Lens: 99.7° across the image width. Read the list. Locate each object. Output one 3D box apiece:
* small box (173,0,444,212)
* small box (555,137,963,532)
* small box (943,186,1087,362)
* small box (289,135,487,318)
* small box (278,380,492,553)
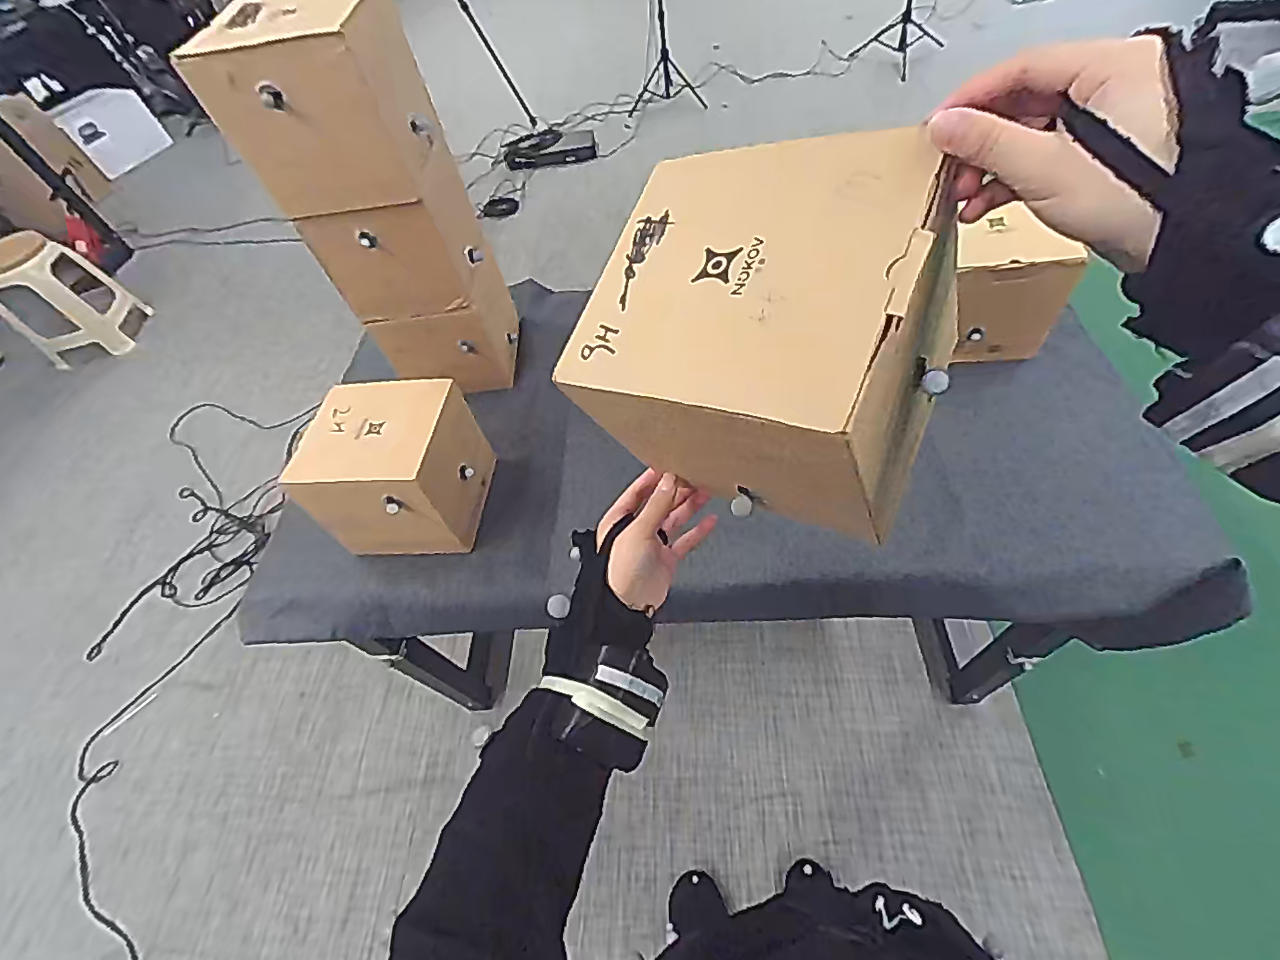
[{"bbox_3d":[-0.354,-0.431,0.619,0.179,0.176,0.168,-4,57,5],"label":"small box"},{"bbox_3d":[0.086,-0.079,0.350,0.179,0.176,0.168,17,77,34],"label":"small box"},{"bbox_3d":[0.483,-0.292,0.783,0.168,0.176,0.179,-2,57,9],"label":"small box"},{"bbox_3d":[-0.336,-0.348,0.760,0.179,0.176,0.168,-6,57,4],"label":"small box"},{"bbox_3d":[-0.317,-0.013,0.719,0.179,0.176,0.168,-2,53,8],"label":"small box"}]
